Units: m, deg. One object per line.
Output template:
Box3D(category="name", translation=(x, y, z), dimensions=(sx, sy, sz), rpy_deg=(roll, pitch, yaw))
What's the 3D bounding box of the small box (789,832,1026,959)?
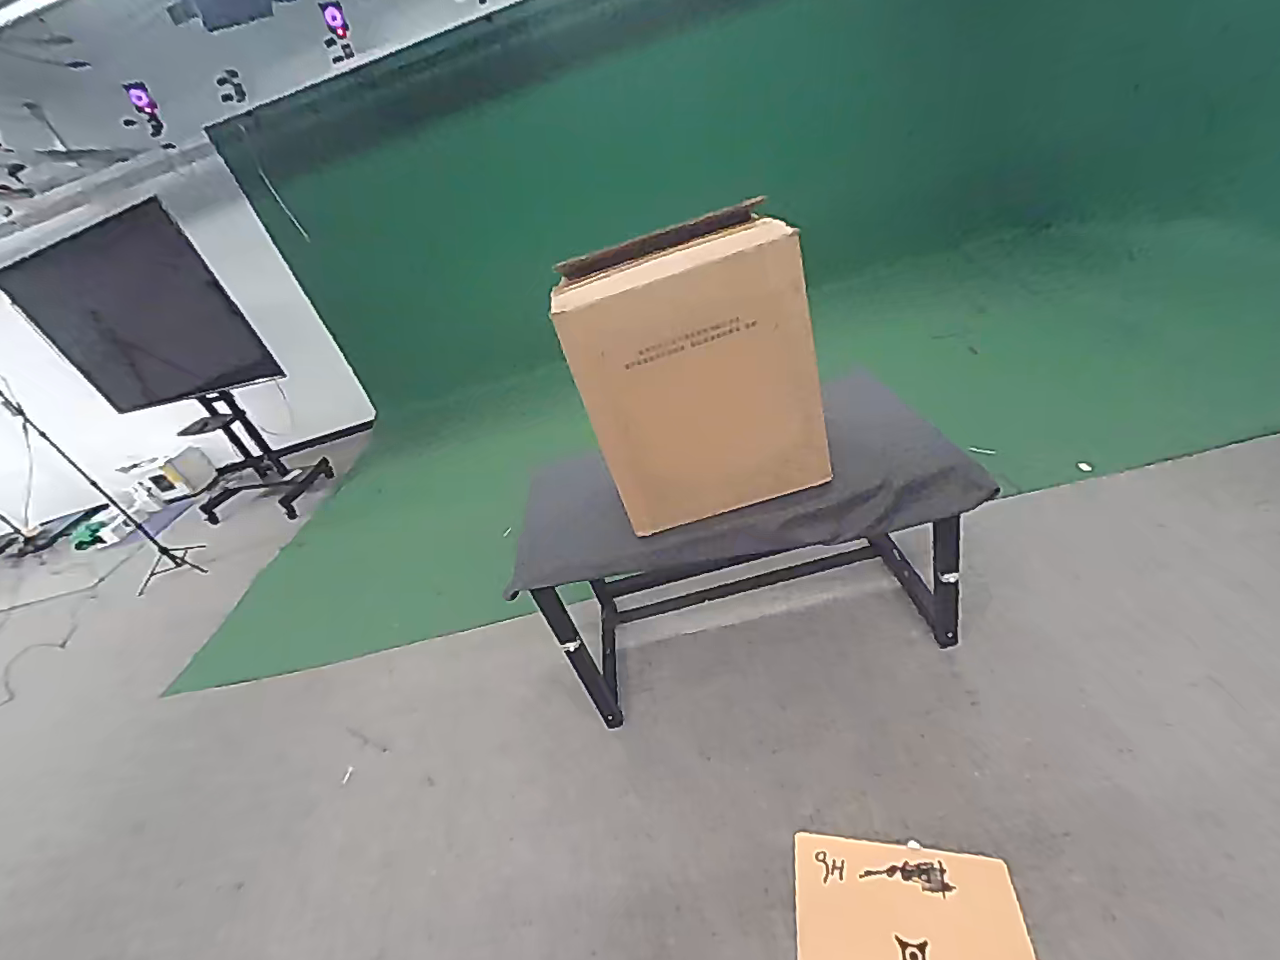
Box3D(category="small box", translation=(0.209, 0.427, 0.433), dimensions=(0.168, 0.176, 0.179), rpy_deg=(-3, 30, 16))
